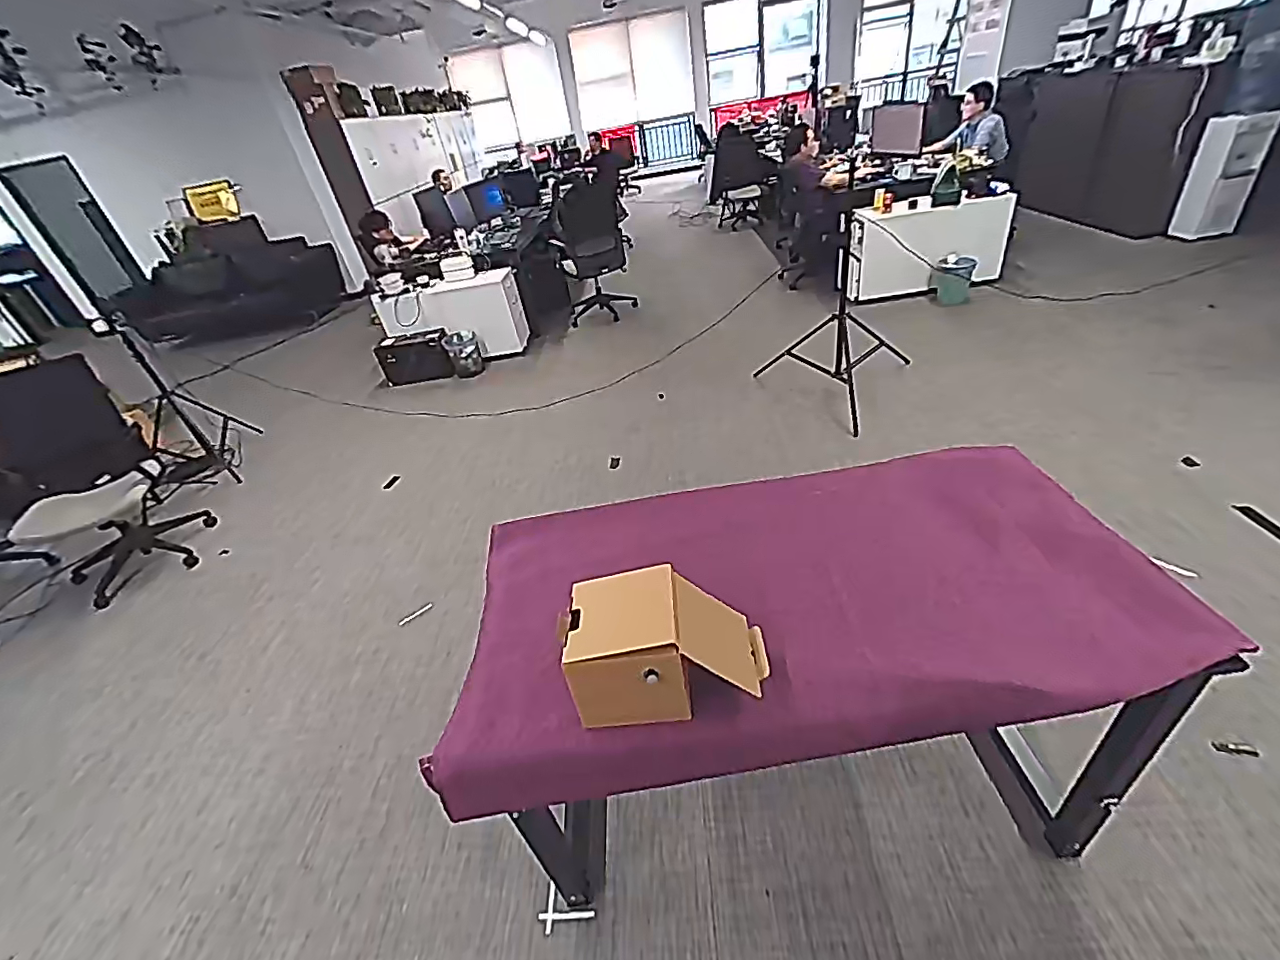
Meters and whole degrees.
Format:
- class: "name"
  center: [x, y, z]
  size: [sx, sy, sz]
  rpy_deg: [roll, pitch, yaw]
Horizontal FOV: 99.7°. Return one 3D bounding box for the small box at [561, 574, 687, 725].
- class: "small box"
  center: [-0.016, 0.279, 0.890]
  size: [0.179, 0.176, 0.168]
  rpy_deg: [-7, 33, 6]
